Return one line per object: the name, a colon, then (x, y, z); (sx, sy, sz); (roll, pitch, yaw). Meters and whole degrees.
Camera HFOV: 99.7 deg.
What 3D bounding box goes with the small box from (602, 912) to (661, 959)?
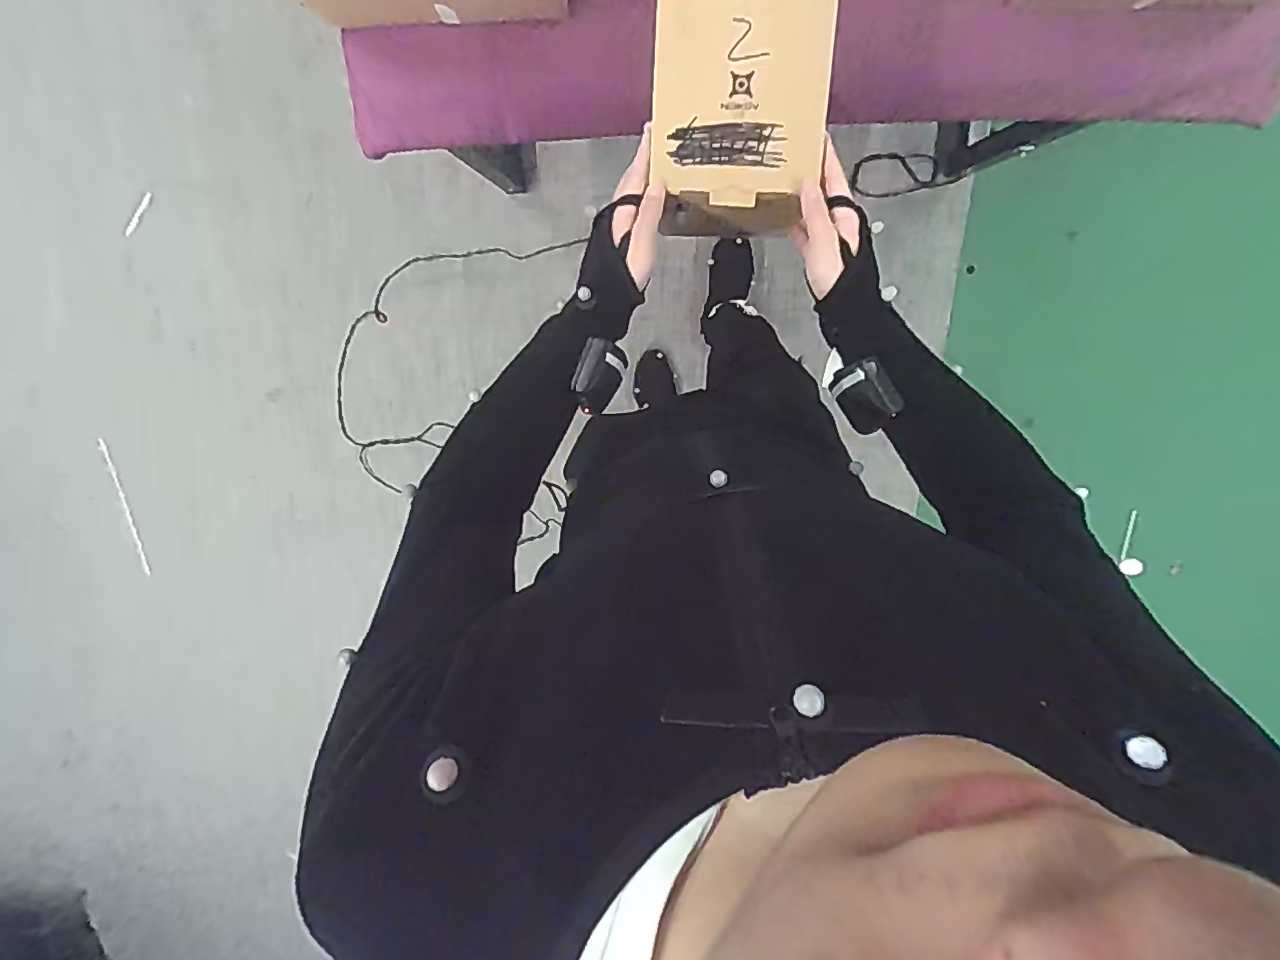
small box: (-0.021, 1.422, 1.595); (0.168, 0.176, 0.179); (-3, 109, 2)
